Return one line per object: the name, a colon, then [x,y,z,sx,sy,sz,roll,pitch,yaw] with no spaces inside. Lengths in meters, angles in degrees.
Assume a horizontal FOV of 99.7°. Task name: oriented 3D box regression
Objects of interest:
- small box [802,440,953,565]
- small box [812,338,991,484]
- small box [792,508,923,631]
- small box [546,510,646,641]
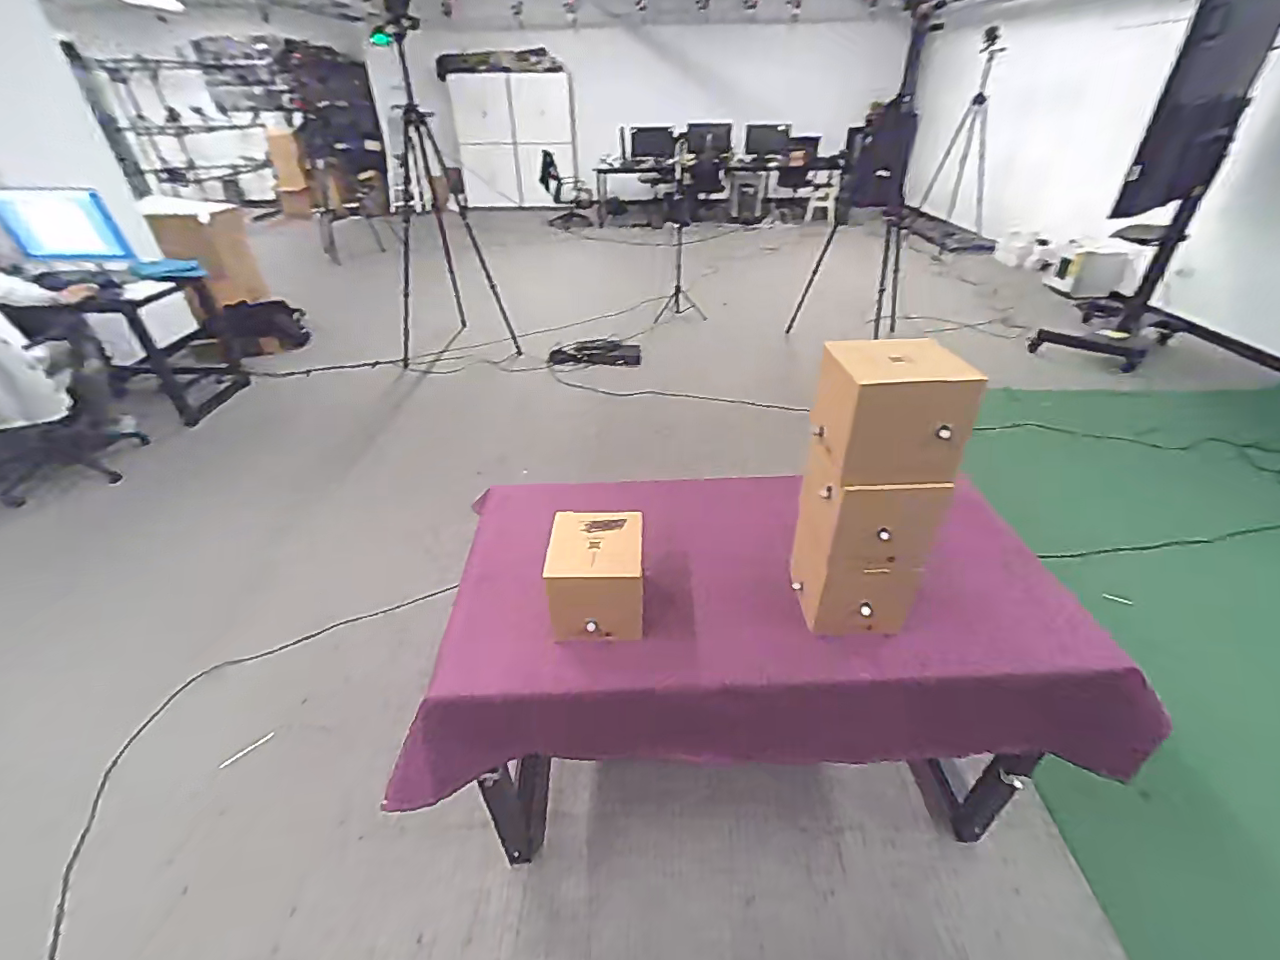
small box: [0.386,0.030,0.914,0.168,0.176,0.179,-1,35,0]
small box: [0.380,-0.106,0.823,0.179,0.176,0.168,-2,34,0]
small box: [0.392,0.165,1.010,0.168,0.176,0.179,-1,36,0]
small box: [-0.074,0.175,1.007,0.168,0.176,0.179,0,36,1]
